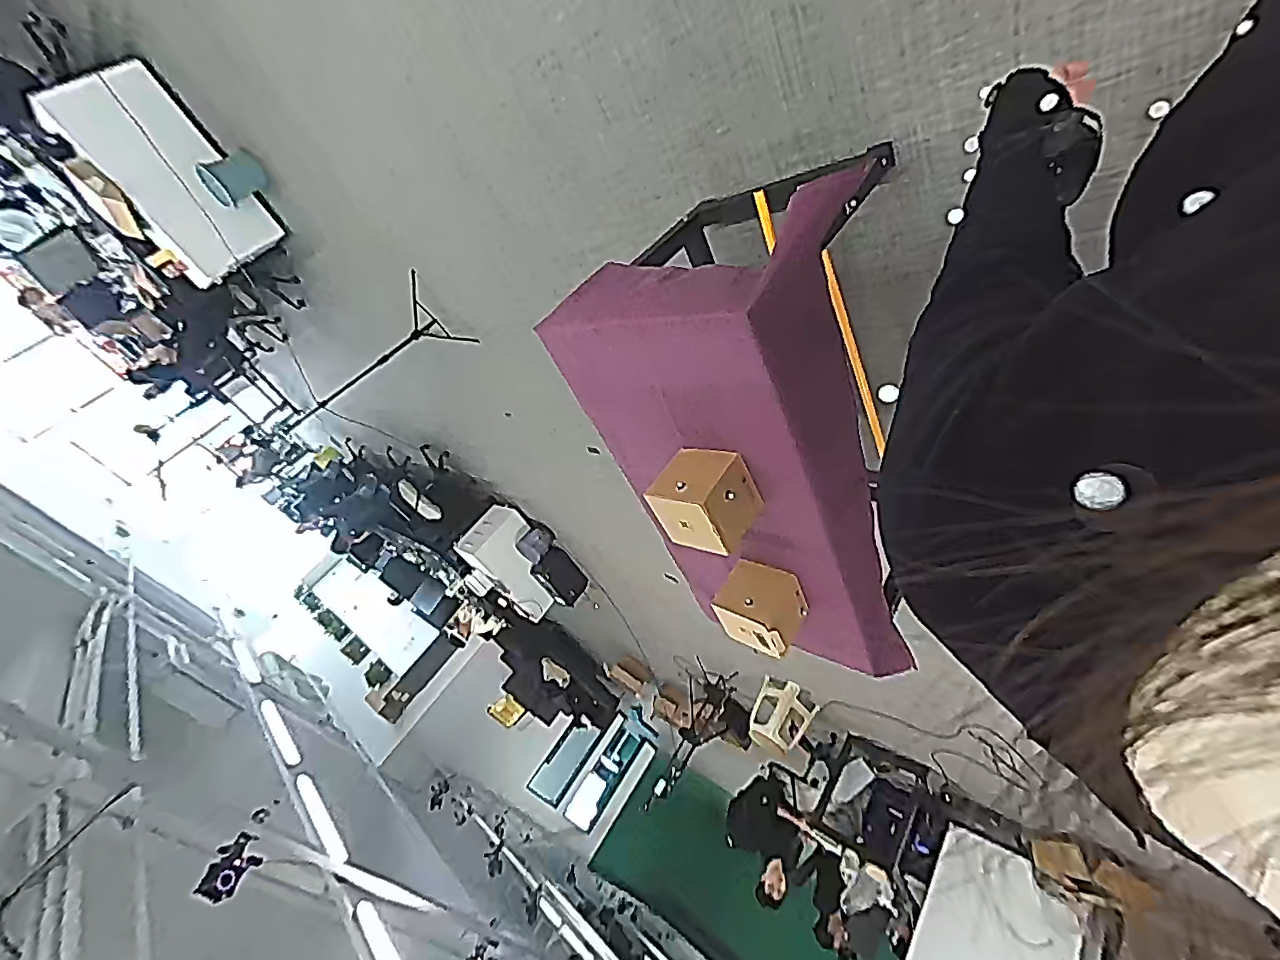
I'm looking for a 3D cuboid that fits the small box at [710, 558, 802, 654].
[{"bbox_3d":[0.325,0.337,1.481,0.179,0.176,0.168,13,143,43],"label":"small box"}]

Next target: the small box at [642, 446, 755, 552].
[{"bbox_3d":[0.143,0.037,1.245,0.179,0.176,0.168,10,141,46],"label":"small box"}]
